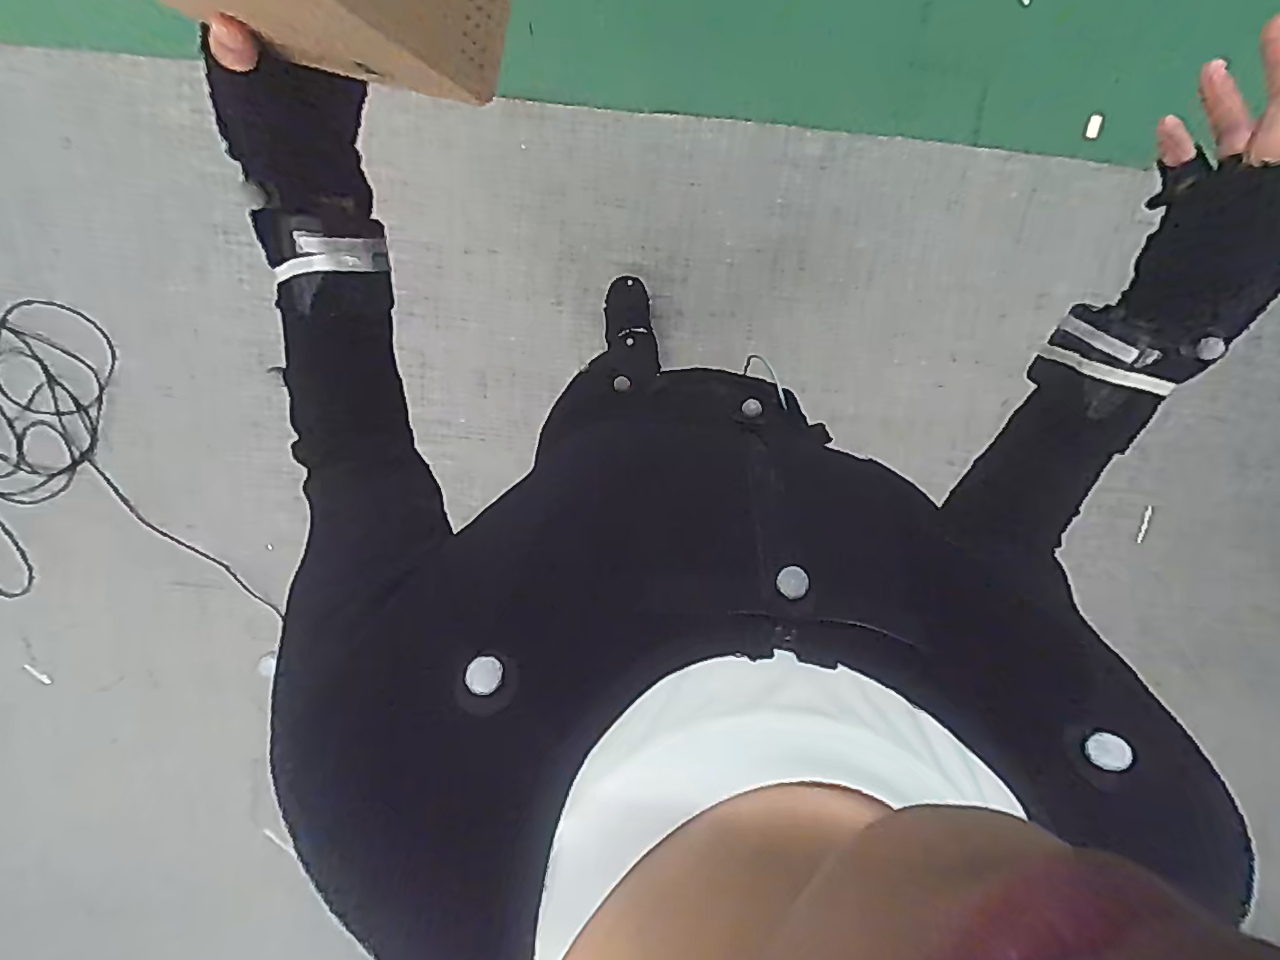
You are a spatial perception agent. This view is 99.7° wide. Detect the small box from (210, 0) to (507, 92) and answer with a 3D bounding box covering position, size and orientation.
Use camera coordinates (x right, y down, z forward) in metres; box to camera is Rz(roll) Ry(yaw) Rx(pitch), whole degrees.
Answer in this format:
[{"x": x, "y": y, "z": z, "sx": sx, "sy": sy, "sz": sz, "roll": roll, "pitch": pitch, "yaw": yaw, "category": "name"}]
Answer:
[{"x": -0.140, "y": -0.271, "z": 0.171, "sx": 0.168, "sy": 0.176, "sz": 0.179, "roll": 25, "pitch": 110, "yaw": 15, "category": "small box"}]
